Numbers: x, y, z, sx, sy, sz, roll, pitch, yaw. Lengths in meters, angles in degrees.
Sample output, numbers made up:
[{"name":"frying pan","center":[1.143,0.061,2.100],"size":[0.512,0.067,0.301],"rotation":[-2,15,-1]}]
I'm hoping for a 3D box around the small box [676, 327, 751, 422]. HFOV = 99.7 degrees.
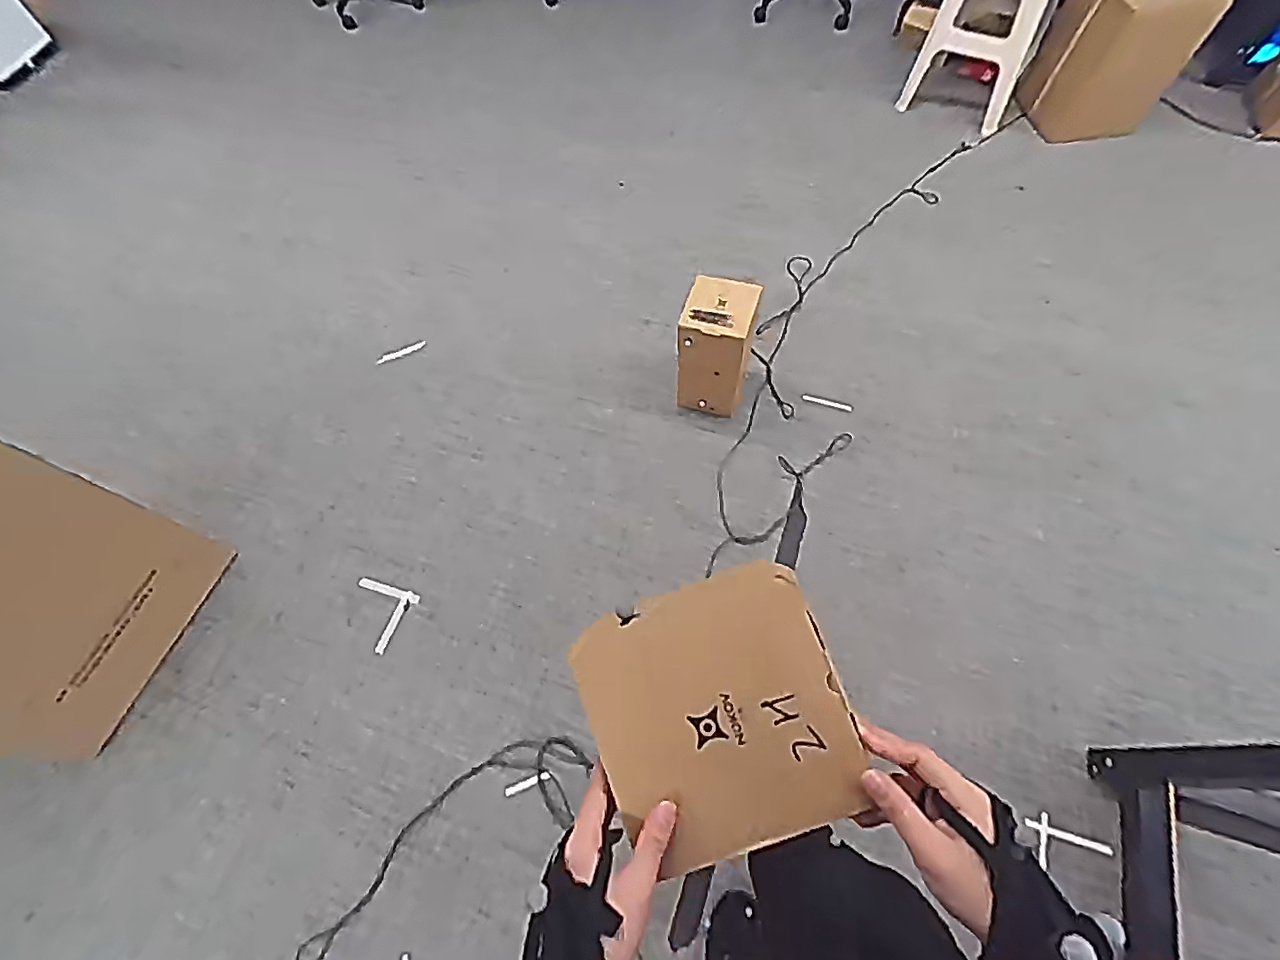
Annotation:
[{"name":"small box","center":[0.202,-0.293,1.514],"size":[0.168,0.176,0.179],"rotation":[15,66,12]}]
